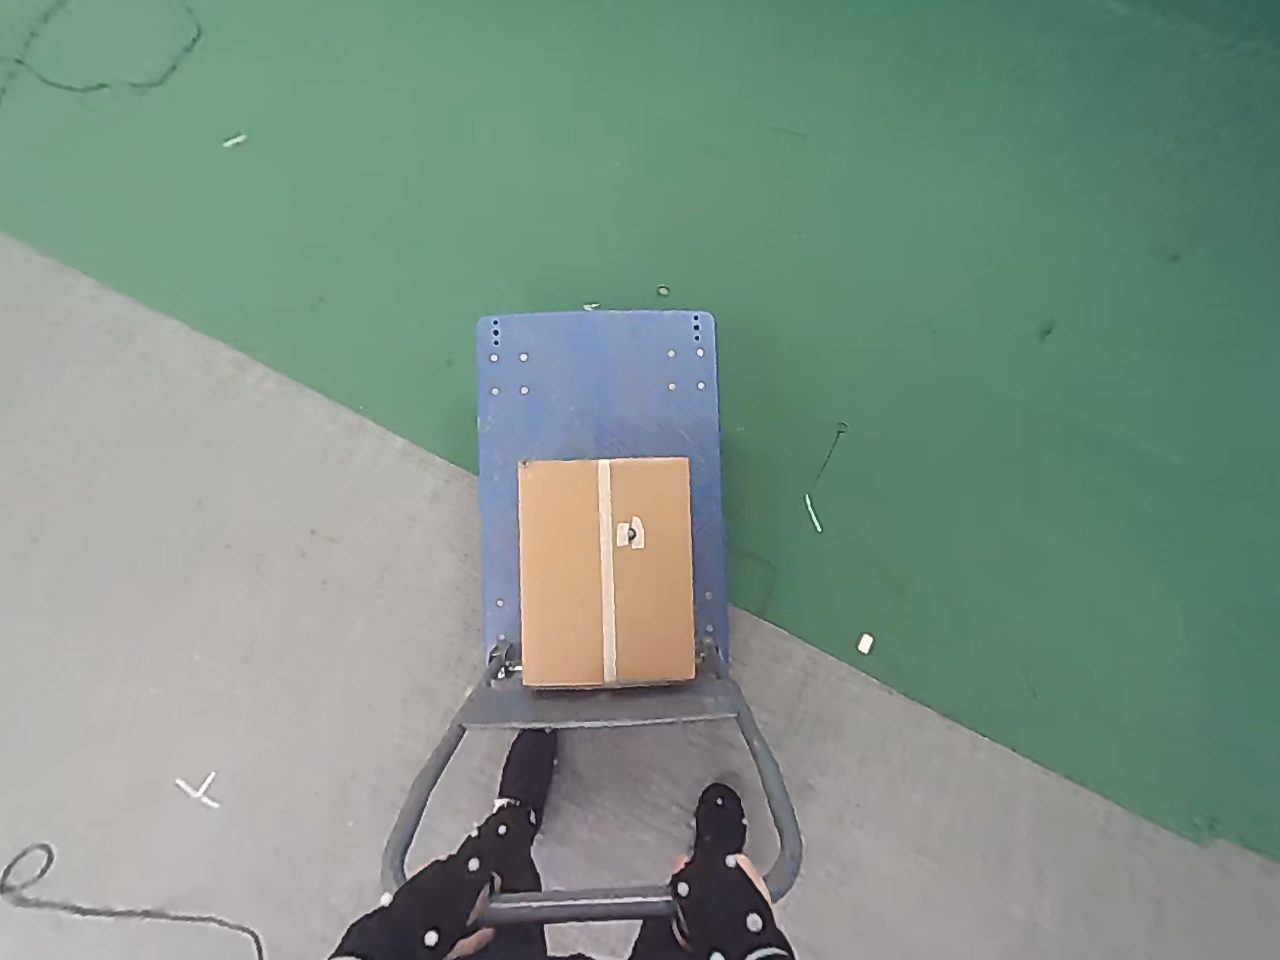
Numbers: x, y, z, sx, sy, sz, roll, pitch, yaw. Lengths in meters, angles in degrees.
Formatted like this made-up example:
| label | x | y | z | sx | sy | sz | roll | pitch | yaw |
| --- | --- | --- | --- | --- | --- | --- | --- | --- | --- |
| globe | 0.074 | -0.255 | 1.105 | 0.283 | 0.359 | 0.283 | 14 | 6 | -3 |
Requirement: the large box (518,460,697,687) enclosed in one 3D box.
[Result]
| label | x | y | z | sx | sy | sz | roll | pitch | yaw |
| --- | --- | --- | --- | --- | --- | --- | --- | --- | --- |
| large box | -0.064 | 0.176 | 1.132 | 0.320 | 0.320 | 0.408 | -2 | 87 | -2 |
